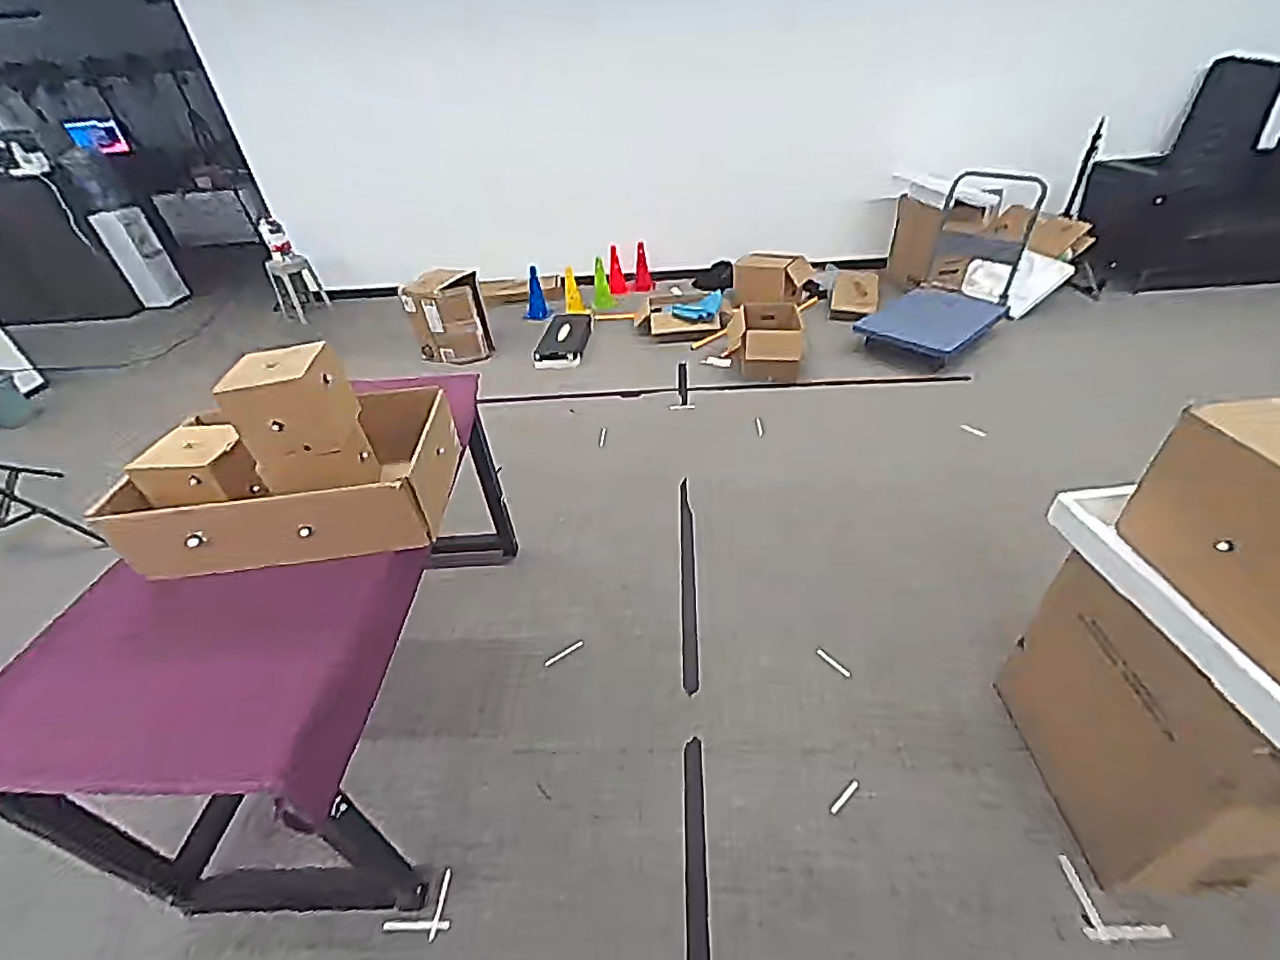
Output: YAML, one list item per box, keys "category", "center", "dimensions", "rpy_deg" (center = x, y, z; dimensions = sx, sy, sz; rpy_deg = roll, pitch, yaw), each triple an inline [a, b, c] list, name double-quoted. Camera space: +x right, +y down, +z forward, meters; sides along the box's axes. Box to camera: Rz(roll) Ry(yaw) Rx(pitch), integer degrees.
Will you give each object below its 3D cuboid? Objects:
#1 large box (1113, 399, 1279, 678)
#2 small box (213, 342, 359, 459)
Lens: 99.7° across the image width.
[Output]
- category: "large box"
  center: [1.175, 0.093, 0.935]
  dimensions: [0.320, 0.320, 0.408]
  rpy_deg: [-4, 36, 0]
- category: "small box"
  center: [-0.699, -0.155, 1.094]
  dimensions: [0.168, 0.176, 0.179]
  rpy_deg: [-11, 37, -5]
